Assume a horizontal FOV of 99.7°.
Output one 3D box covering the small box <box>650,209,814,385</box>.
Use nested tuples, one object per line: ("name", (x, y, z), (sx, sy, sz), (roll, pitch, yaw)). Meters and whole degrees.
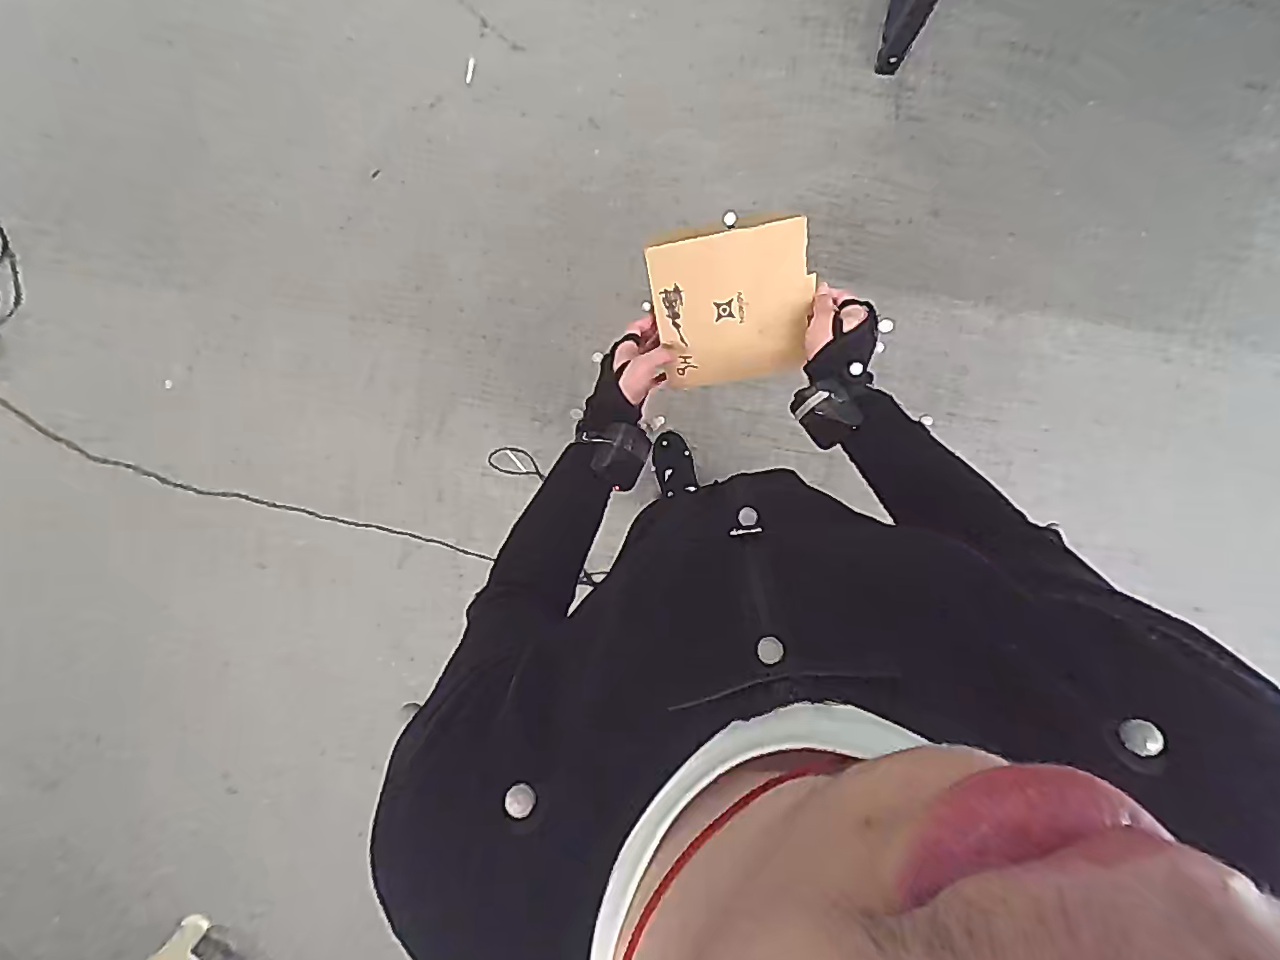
("small box", (0.110, -0.238, 0.686), (0.179, 0.176, 0.168), (-8, 118, 6))
